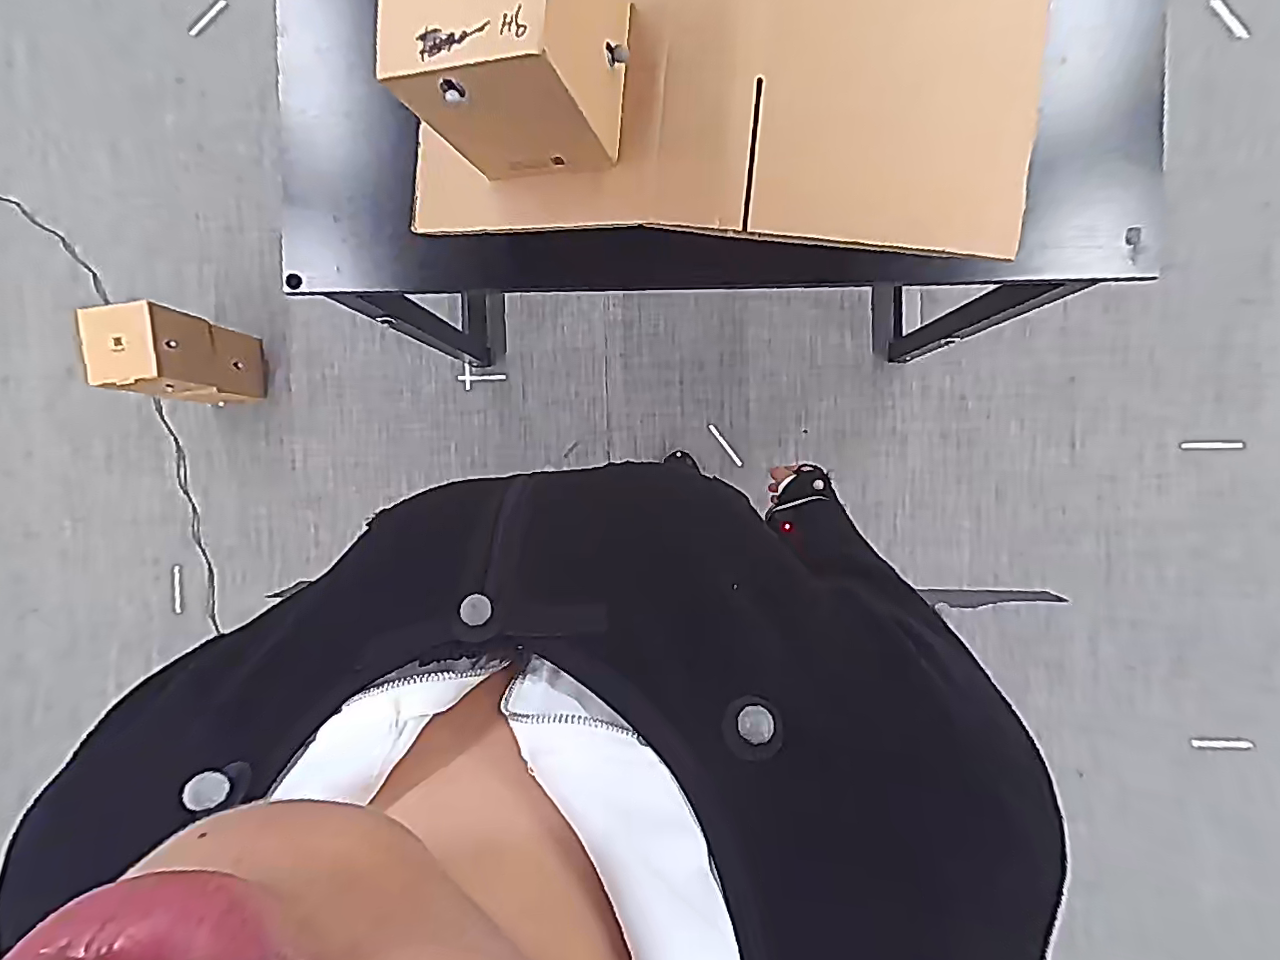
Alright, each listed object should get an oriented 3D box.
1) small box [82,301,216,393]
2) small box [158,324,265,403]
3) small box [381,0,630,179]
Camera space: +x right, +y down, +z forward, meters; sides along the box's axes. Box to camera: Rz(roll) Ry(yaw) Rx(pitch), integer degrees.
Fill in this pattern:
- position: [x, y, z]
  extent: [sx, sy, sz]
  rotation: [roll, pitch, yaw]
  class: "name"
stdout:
- position: [-1.160, -0.308, 1.292]
  extent: [0.168, 0.176, 0.179]
  rotation: [-7, 90, 2]
  class: "small box"
- position: [-1.151, -0.307, 1.454]
  extent: [0.168, 0.176, 0.179]
  rotation: [-4, 92, 3]
  class: "small box"
- position: [-0.115, -0.426, 0.522]
  extent: [0.168, 0.176, 0.179]
  rotation: [6, 91, 18]
  class: "small box"
